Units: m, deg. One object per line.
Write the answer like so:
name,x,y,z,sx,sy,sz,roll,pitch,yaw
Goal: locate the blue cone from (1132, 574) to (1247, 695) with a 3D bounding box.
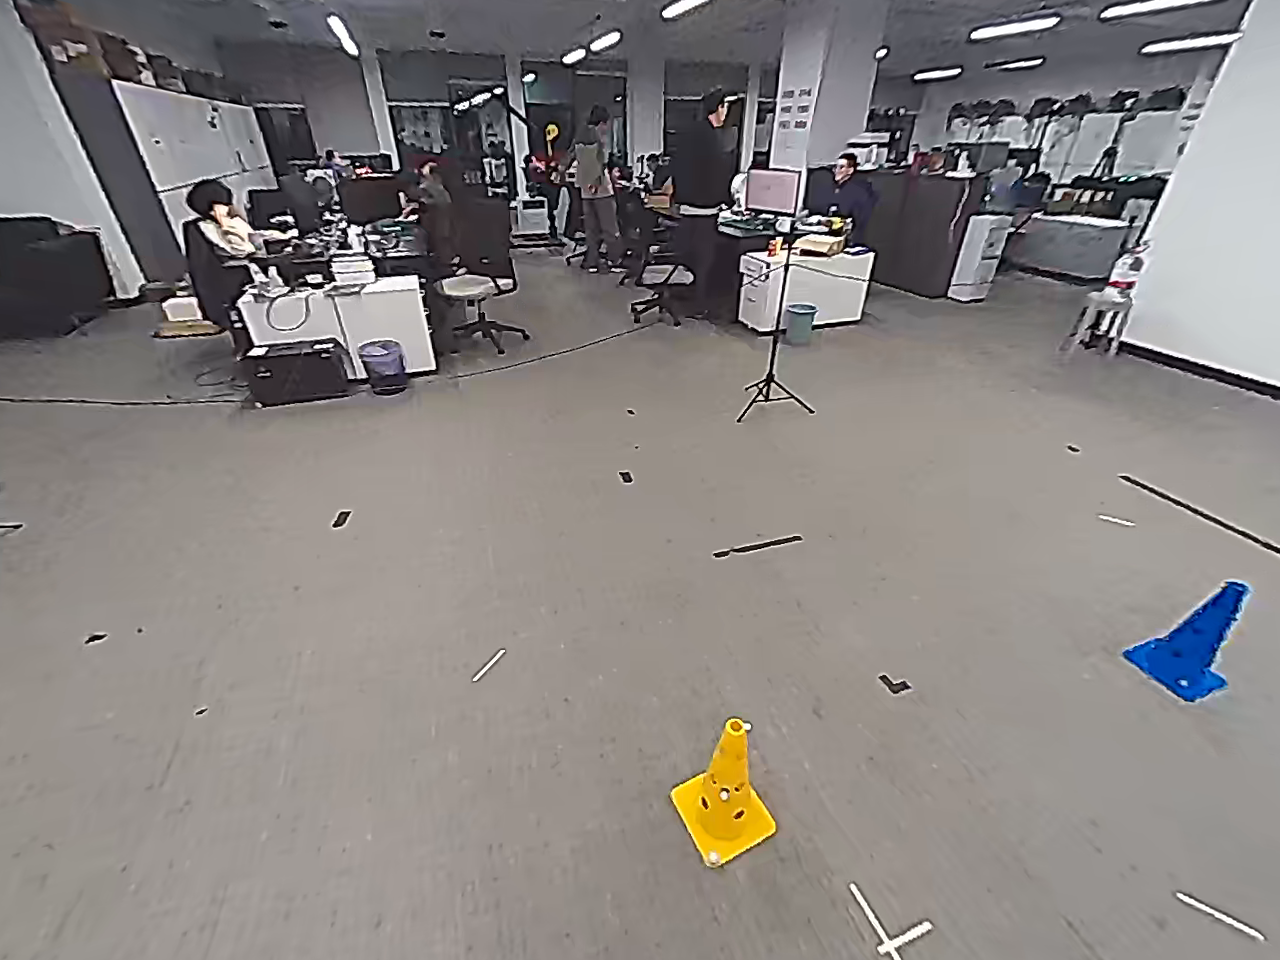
blue cone,1.690,0.441,1.609,0.193,0.380,0.192,-10,33,-15
